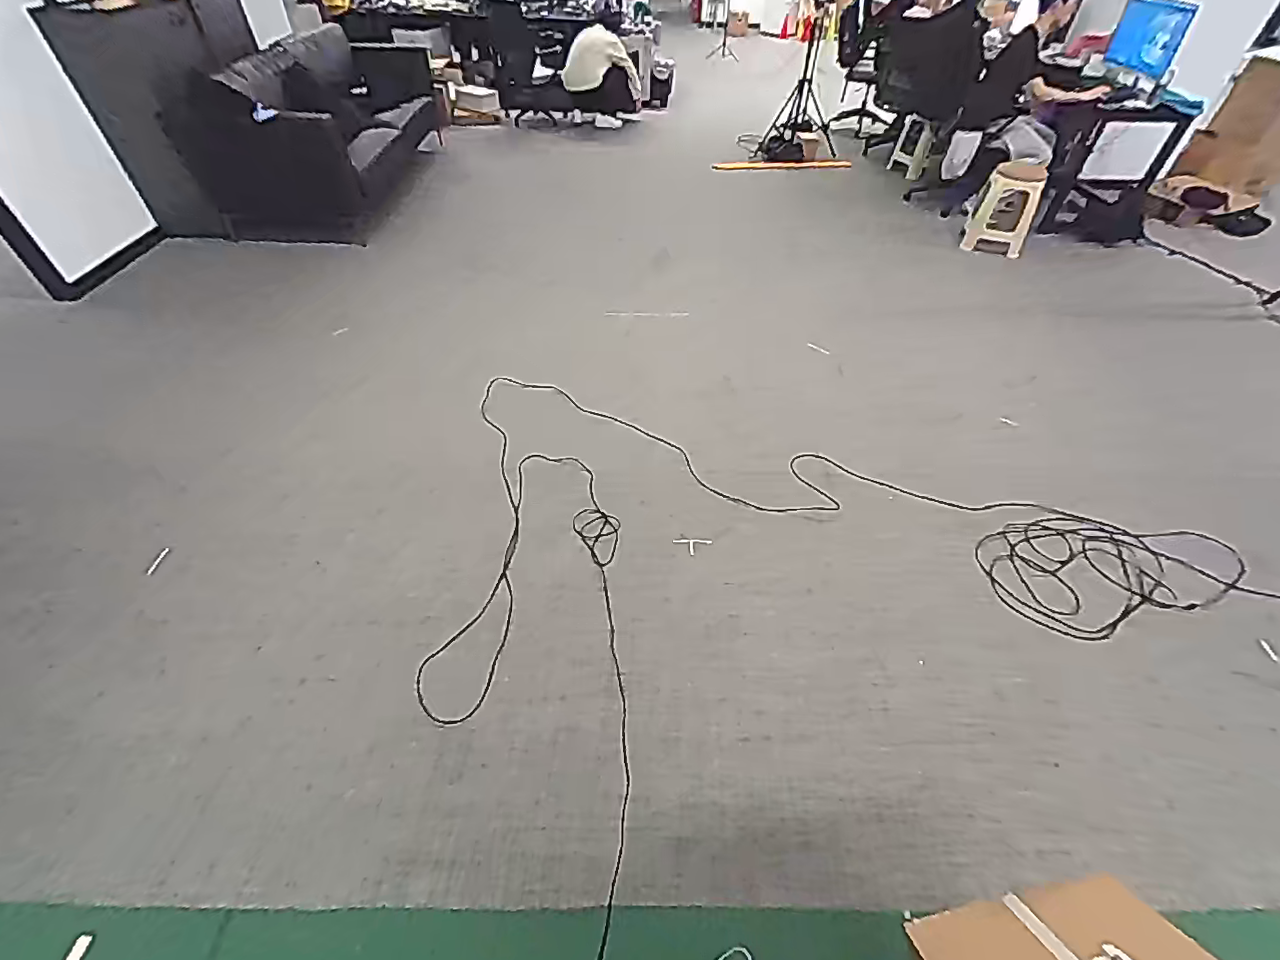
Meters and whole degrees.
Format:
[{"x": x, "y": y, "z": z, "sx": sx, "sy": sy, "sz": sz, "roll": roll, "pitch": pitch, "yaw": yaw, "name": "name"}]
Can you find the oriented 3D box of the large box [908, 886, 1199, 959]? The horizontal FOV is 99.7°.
[{"x": 0.571, "y": 0.762, "z": 0.577, "sx": 0.320, "sy": 0.408, "sz": 0.320, "roll": -12, "pitch": 89, "yaw": -2, "name": "large box"}]
